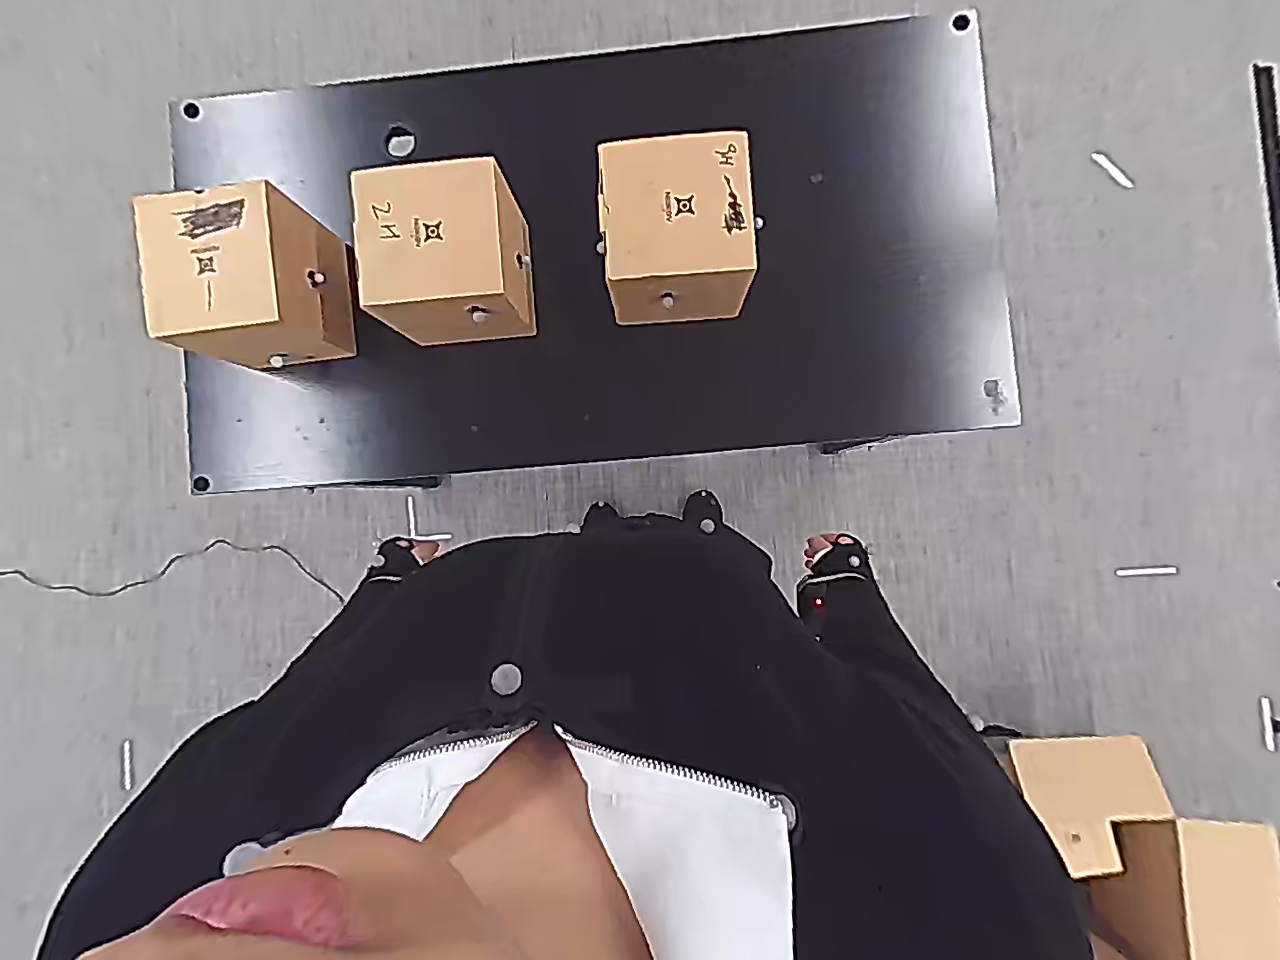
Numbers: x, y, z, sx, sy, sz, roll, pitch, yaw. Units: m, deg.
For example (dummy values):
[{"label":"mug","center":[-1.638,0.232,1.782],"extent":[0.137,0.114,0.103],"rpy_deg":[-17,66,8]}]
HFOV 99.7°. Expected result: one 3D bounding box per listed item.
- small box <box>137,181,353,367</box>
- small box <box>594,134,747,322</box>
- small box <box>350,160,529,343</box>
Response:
[{"label":"small box","center":[-0.517,-0.265,0.731],"extent":[0.168,0.176,0.179],"rpy_deg":[-7,89,2]},{"label":"small box","center":[0.040,-0.315,0.711],"extent":[0.179,0.176,0.168],"rpy_deg":[-3,88,3]},{"label":"small box","center":[-0.251,-0.291,0.721],"extent":[0.179,0.176,0.168],"rpy_deg":[-5,88,3]}]
